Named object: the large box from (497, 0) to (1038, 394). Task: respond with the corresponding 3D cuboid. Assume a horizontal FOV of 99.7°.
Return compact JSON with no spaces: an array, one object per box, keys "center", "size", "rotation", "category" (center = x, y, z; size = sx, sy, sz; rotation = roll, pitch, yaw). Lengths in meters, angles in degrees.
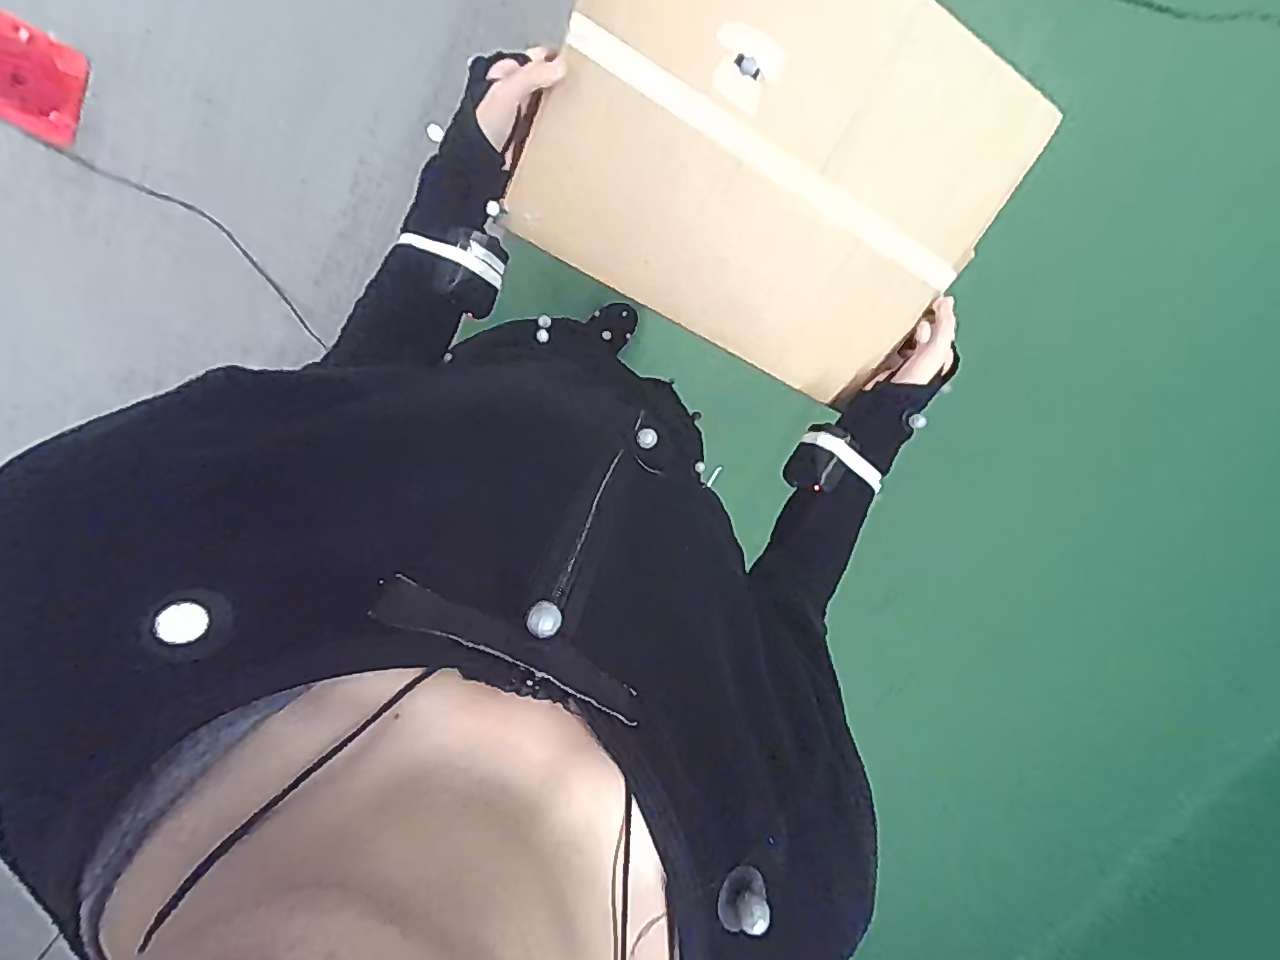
[{"center":[0.104,-0.356,0.619],"size":[0.408,0.320,0.320],"rotation":[24,113,-15],"category":"large box"}]
